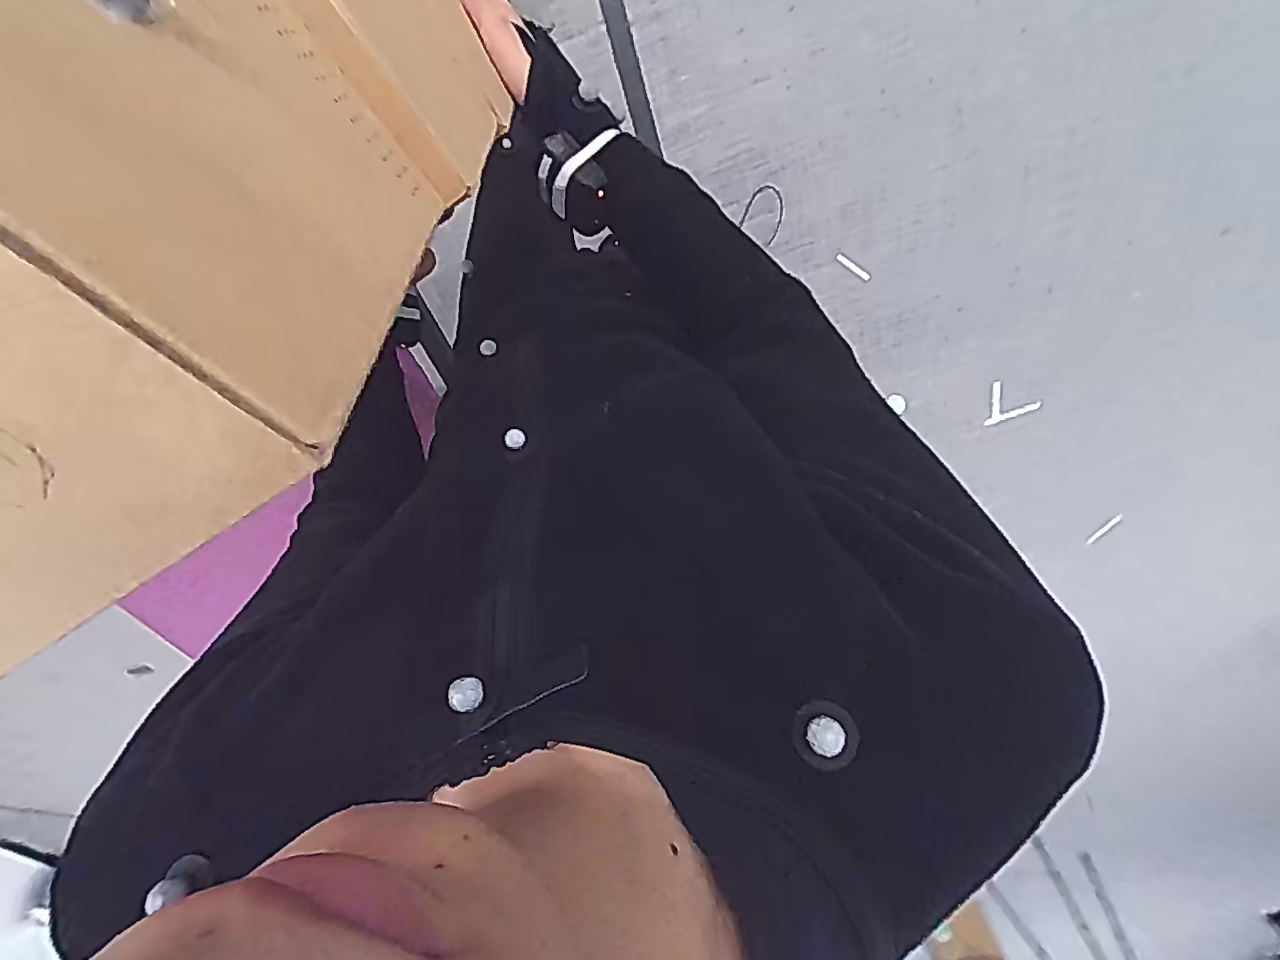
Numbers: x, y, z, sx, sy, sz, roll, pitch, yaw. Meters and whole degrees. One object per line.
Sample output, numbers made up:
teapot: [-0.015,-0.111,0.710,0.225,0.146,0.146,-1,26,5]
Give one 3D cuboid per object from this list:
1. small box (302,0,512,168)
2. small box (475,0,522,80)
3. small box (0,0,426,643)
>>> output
small box: [-0.200,-0.299,0.351,0.168,0.176,0.179,-24,131,12]
small box: [-0.217,-0.411,0.471,0.168,0.176,0.179,-27,130,14]
small box: [-0.175,-0.075,0.111,0.168,0.176,0.179,-28,131,14]
